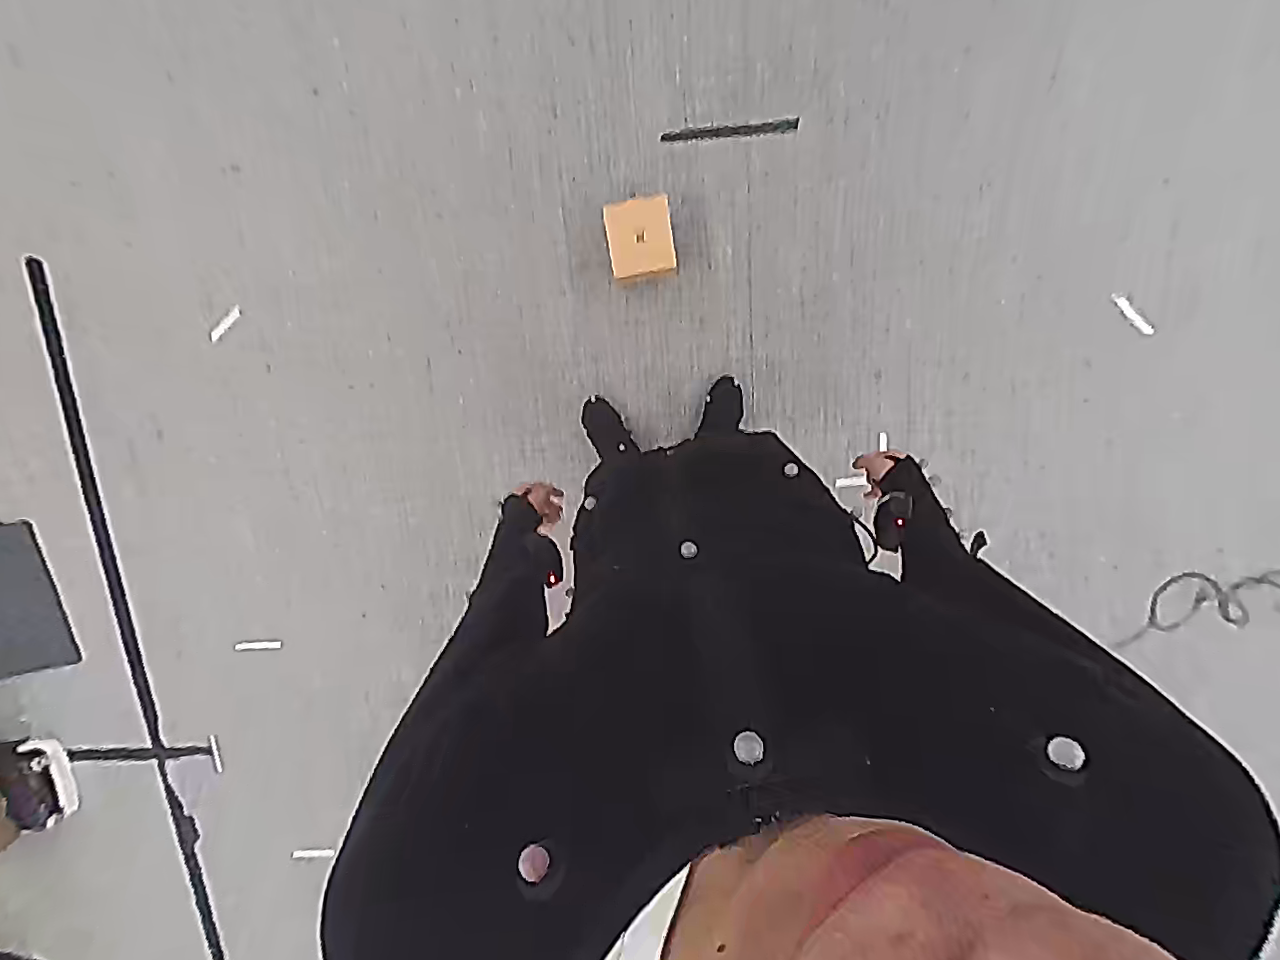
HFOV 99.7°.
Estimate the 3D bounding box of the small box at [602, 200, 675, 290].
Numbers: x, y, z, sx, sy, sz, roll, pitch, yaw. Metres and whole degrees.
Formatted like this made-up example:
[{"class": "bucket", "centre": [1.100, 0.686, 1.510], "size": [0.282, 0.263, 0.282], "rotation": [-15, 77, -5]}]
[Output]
[{"class": "small box", "centre": [-0.003, -0.622, 1.448], "size": [0.168, 0.176, 0.179], "rotation": [-9, 101, 3]}]
